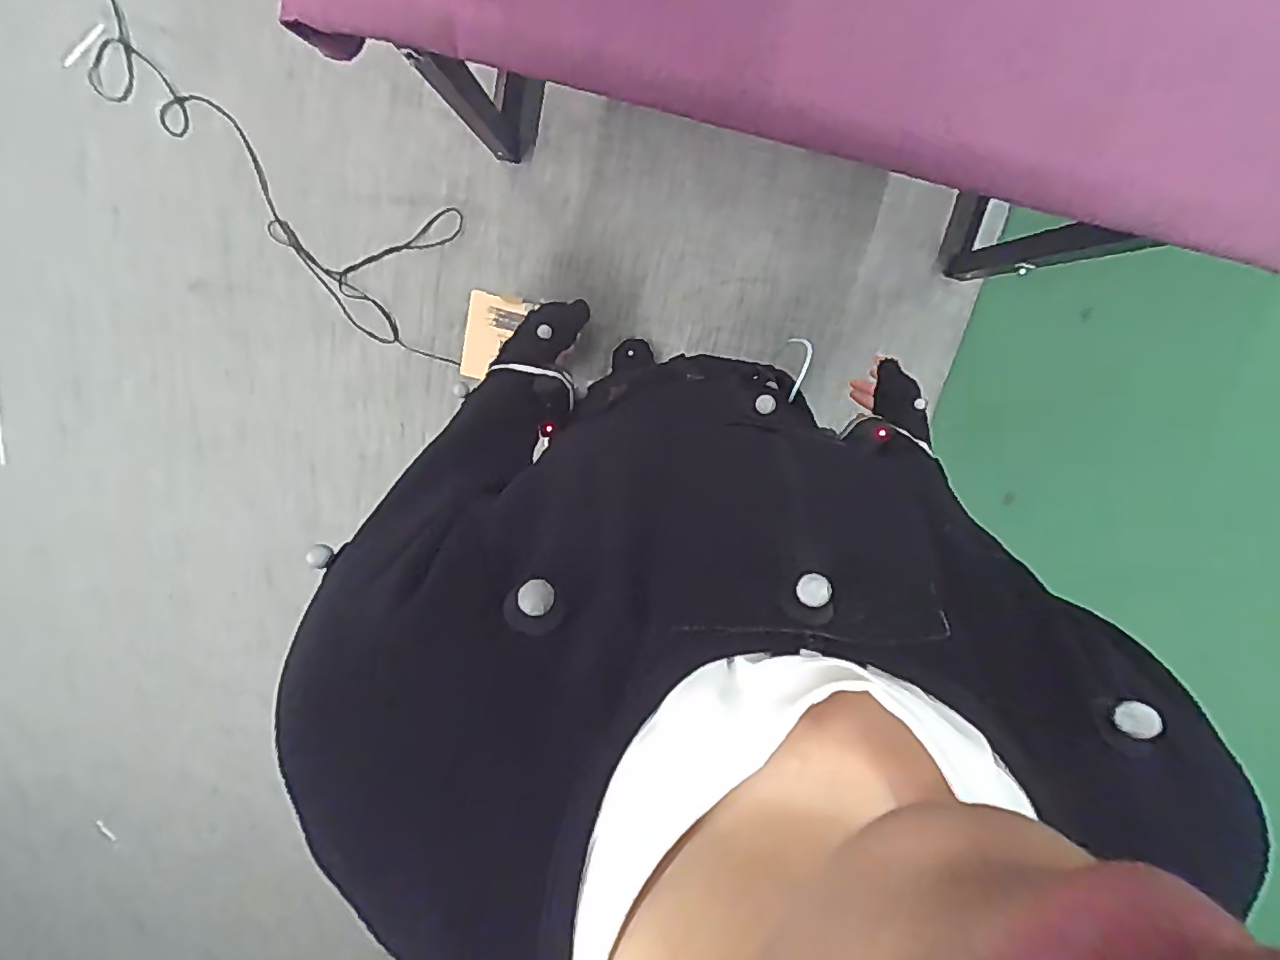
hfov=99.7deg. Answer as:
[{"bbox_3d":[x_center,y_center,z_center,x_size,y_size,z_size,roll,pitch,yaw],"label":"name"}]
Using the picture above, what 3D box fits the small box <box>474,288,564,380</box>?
[{"bbox_3d":[-0.289,-0.357,1.326,0.168,0.176,0.179,14,106,-3],"label":"small box"}]
